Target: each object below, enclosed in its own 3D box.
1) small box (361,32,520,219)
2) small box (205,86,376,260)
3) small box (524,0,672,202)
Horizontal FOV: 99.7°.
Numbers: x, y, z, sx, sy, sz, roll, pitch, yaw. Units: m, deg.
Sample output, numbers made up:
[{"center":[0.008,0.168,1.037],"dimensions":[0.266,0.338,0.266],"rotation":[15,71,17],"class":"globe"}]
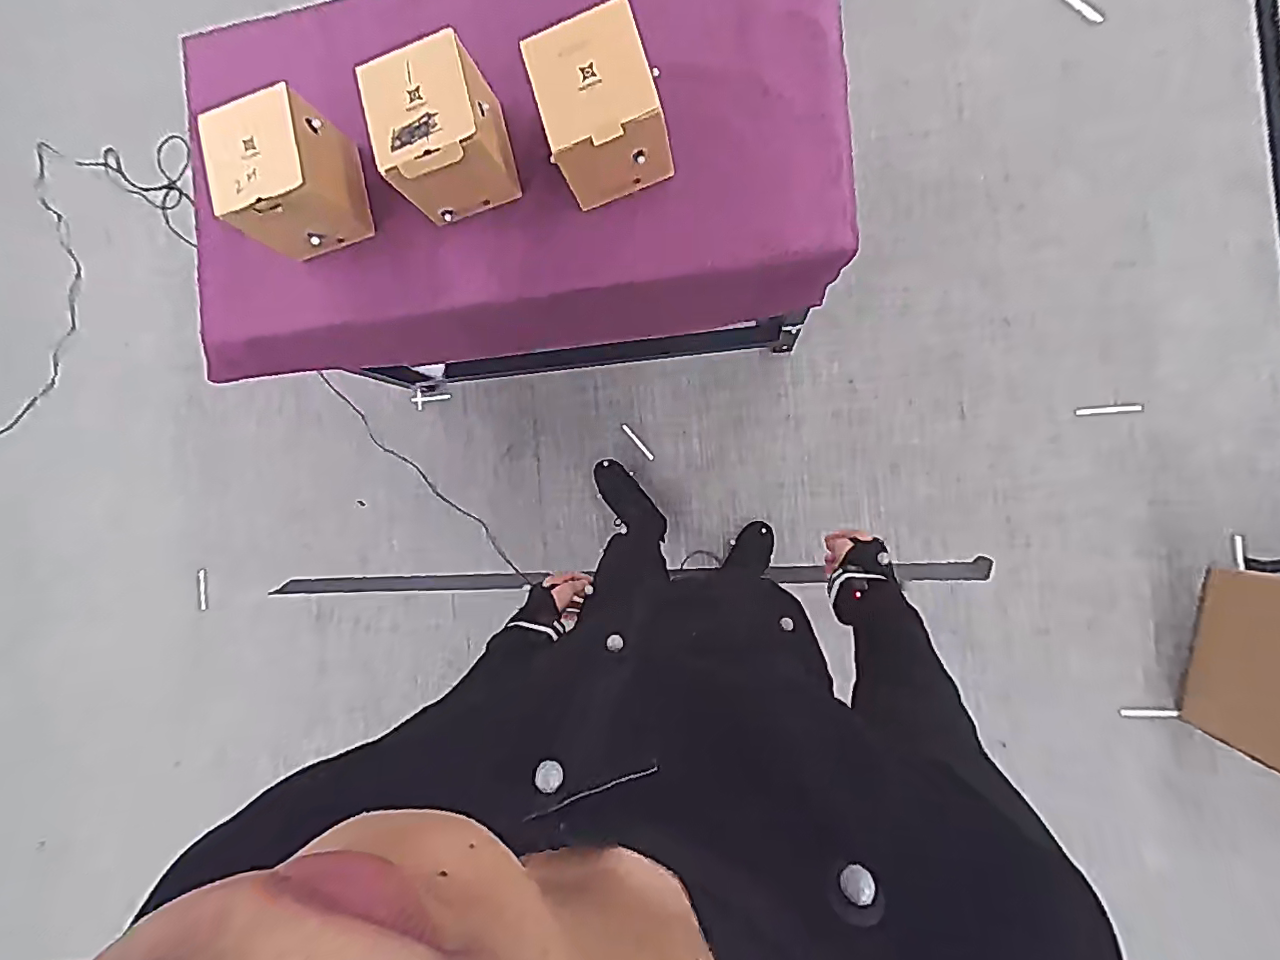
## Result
[{"center":[-0.313,-0.557,0.883],"dimensions":[0.168,0.176,0.179],"rotation":[-15,86,9],"class":"small box"},{"center":[-0.589,-0.513,0.929],"dimensions":[0.168,0.176,0.179],"rotation":[-13,87,10],"class":"small box"},{"center":[-0.054,-0.565,0.840],"dimensions":[0.168,0.176,0.179],"rotation":[-17,86,9],"class":"small box"}]
